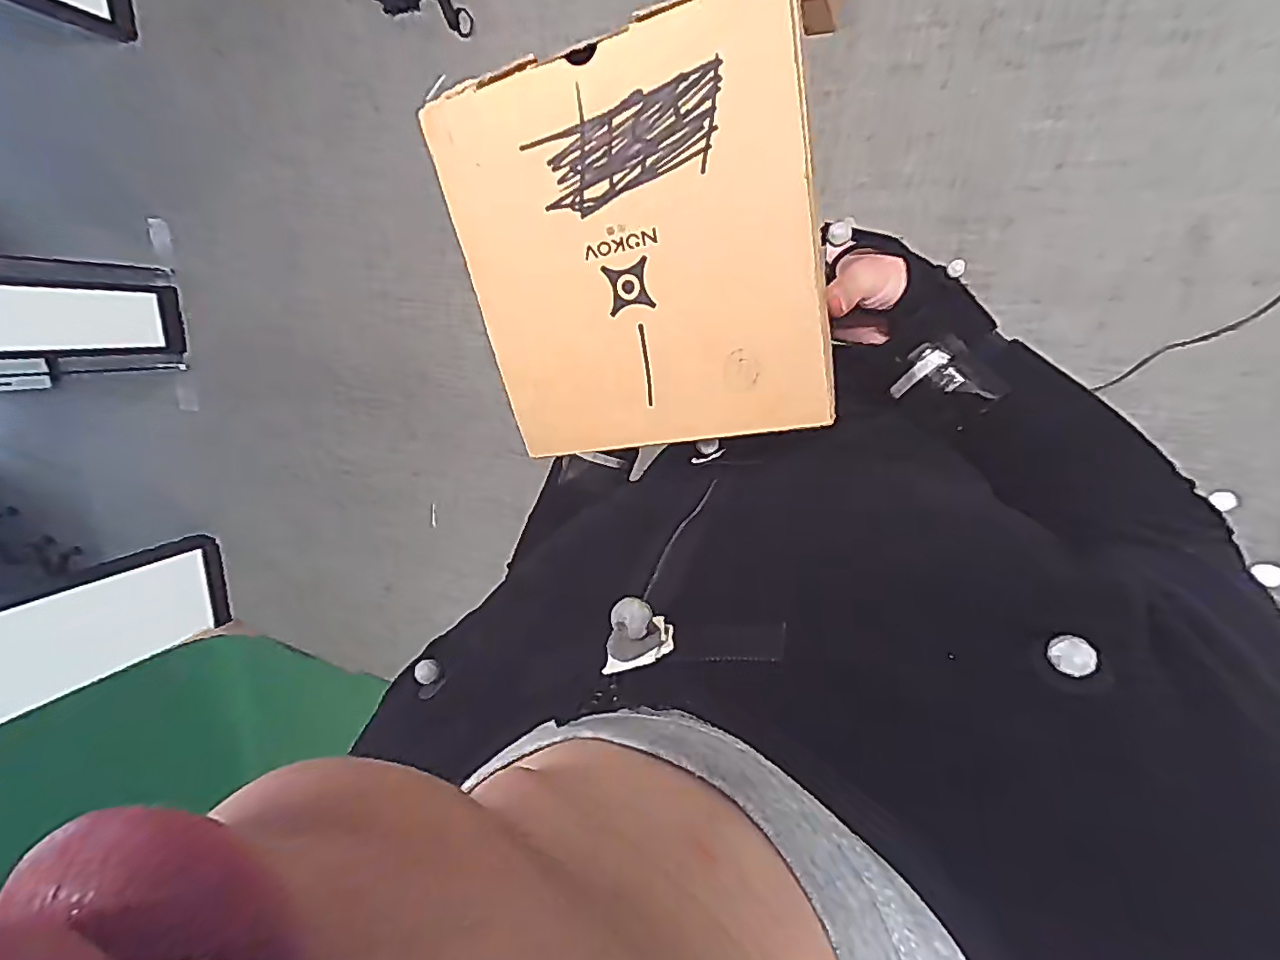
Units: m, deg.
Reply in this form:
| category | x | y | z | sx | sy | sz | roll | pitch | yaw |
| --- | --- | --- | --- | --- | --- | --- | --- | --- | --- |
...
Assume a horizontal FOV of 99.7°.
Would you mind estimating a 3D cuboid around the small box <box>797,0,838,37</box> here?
| category | x | y | z | sx | sy | sz | roll | pitch | yaw |
| --- | --- | --- | --- | --- | --- | --- | --- | --- | --- |
| small box | 0.336 | -1.090 | 1.159 | 0.168 | 0.176 | 0.179 | 9 | 109 | 24 |

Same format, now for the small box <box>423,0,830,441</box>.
| category | x | y | z | sx | sy | sz | roll | pitch | yaw |
| --- | --- | --- | --- | --- | --- | --- | --- | --- | --- |
| small box | 0.017 | -0.138 | 0.317 | 0.168 | 0.176 | 0.179 | -5 | 113 | 22 |
